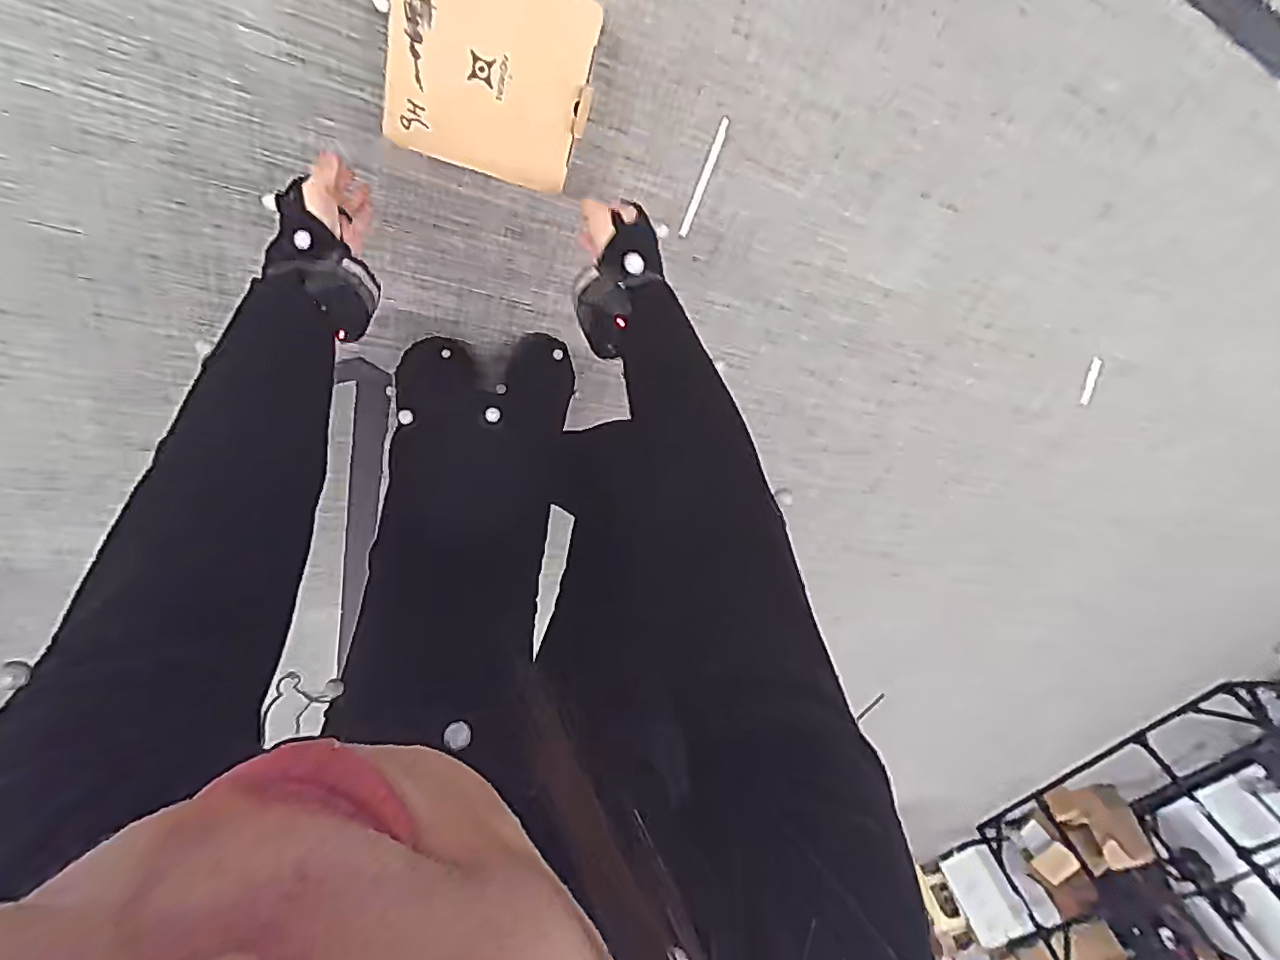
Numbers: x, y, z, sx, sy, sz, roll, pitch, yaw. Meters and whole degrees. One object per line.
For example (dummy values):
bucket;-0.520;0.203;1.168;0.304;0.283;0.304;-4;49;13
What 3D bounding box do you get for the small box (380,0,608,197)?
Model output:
small box;-0.152;-0.418;0.543;0.179;0.176;0.168;7;128;-23
